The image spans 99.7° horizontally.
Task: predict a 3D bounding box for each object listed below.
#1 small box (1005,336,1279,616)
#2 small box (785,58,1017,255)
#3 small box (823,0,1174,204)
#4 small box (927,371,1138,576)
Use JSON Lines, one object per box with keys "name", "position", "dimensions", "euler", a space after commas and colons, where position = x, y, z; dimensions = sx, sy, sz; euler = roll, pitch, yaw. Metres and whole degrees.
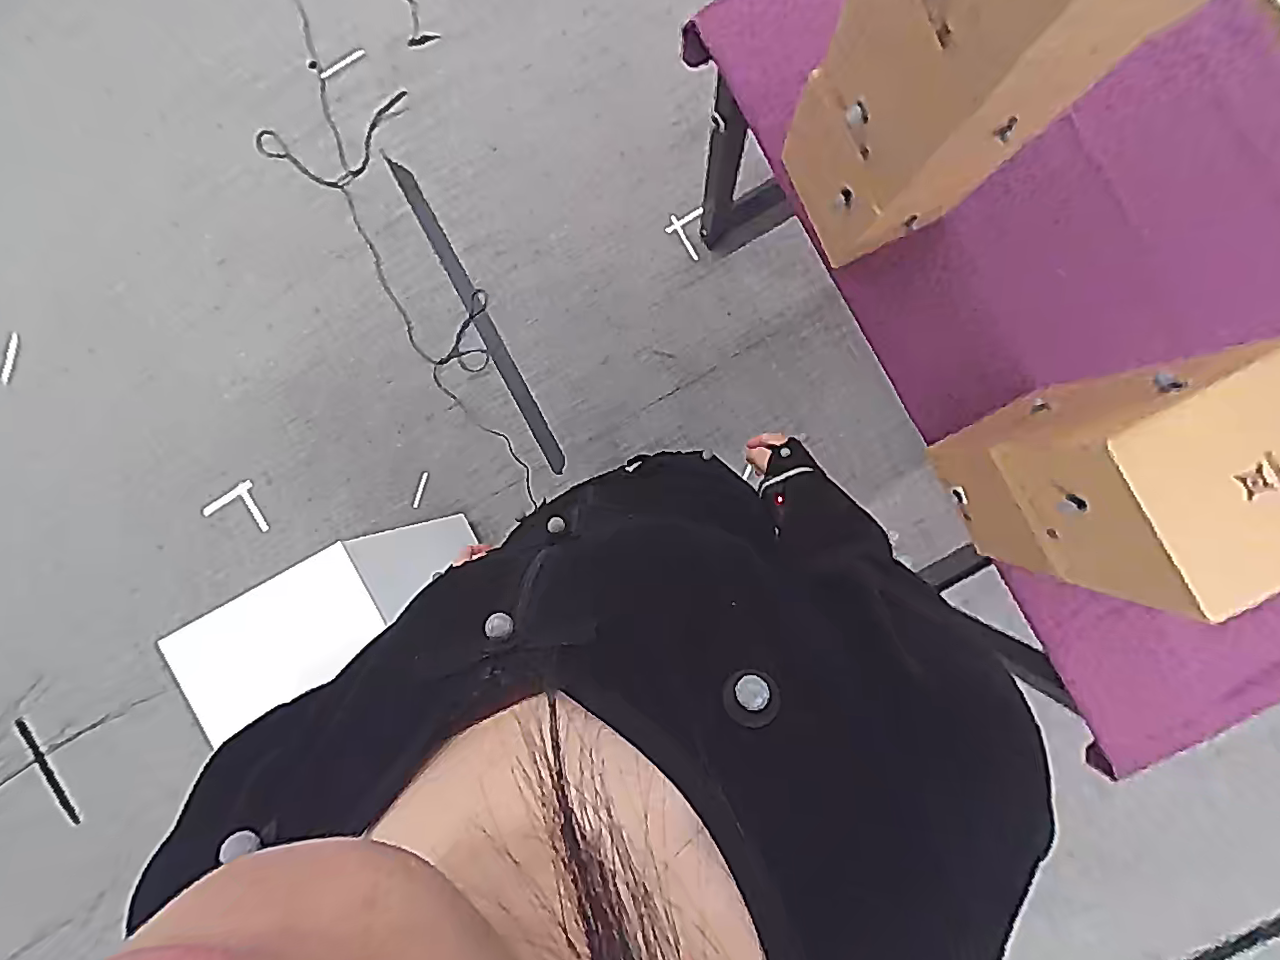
{"name": "small box", "position": [0.482, -0.003, 0.496], "dimensions": [0.179, 0.176, 0.168], "euler": [-30, 88, 4]}
{"name": "small box", "position": [0.297, -0.399, 0.655], "dimensions": [0.168, 0.176, 0.179], "euler": [-25, 90, 4]}
{"name": "small box", "position": [0.296, -0.395, 0.491], "dimensions": [0.179, 0.176, 0.168], "euler": [-26, 90, 5]}
{"name": "small box", "position": [0.496, -0.009, 0.658], "dimensions": [0.179, 0.176, 0.168], "euler": [-29, 89, 5]}
